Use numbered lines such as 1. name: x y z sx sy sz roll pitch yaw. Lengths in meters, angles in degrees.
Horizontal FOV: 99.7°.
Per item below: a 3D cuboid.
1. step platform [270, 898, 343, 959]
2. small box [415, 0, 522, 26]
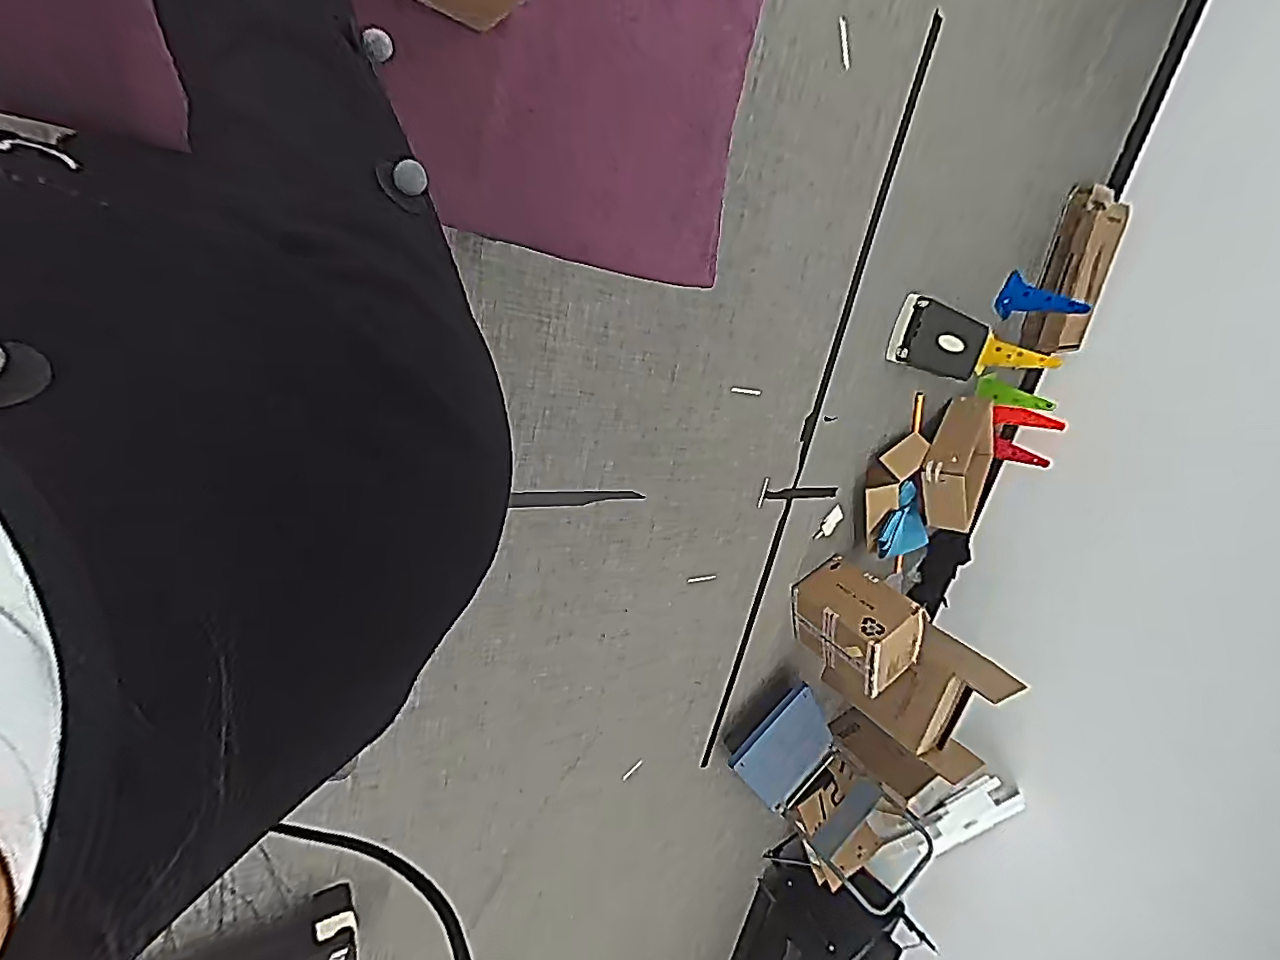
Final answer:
1. step platform: -1.245 1.530 1.556 0.684 0.204 0.286 -2 113 -38
2. small box: -0.158 -0.495 0.403 0.168 0.176 0.179 1 111 -37
